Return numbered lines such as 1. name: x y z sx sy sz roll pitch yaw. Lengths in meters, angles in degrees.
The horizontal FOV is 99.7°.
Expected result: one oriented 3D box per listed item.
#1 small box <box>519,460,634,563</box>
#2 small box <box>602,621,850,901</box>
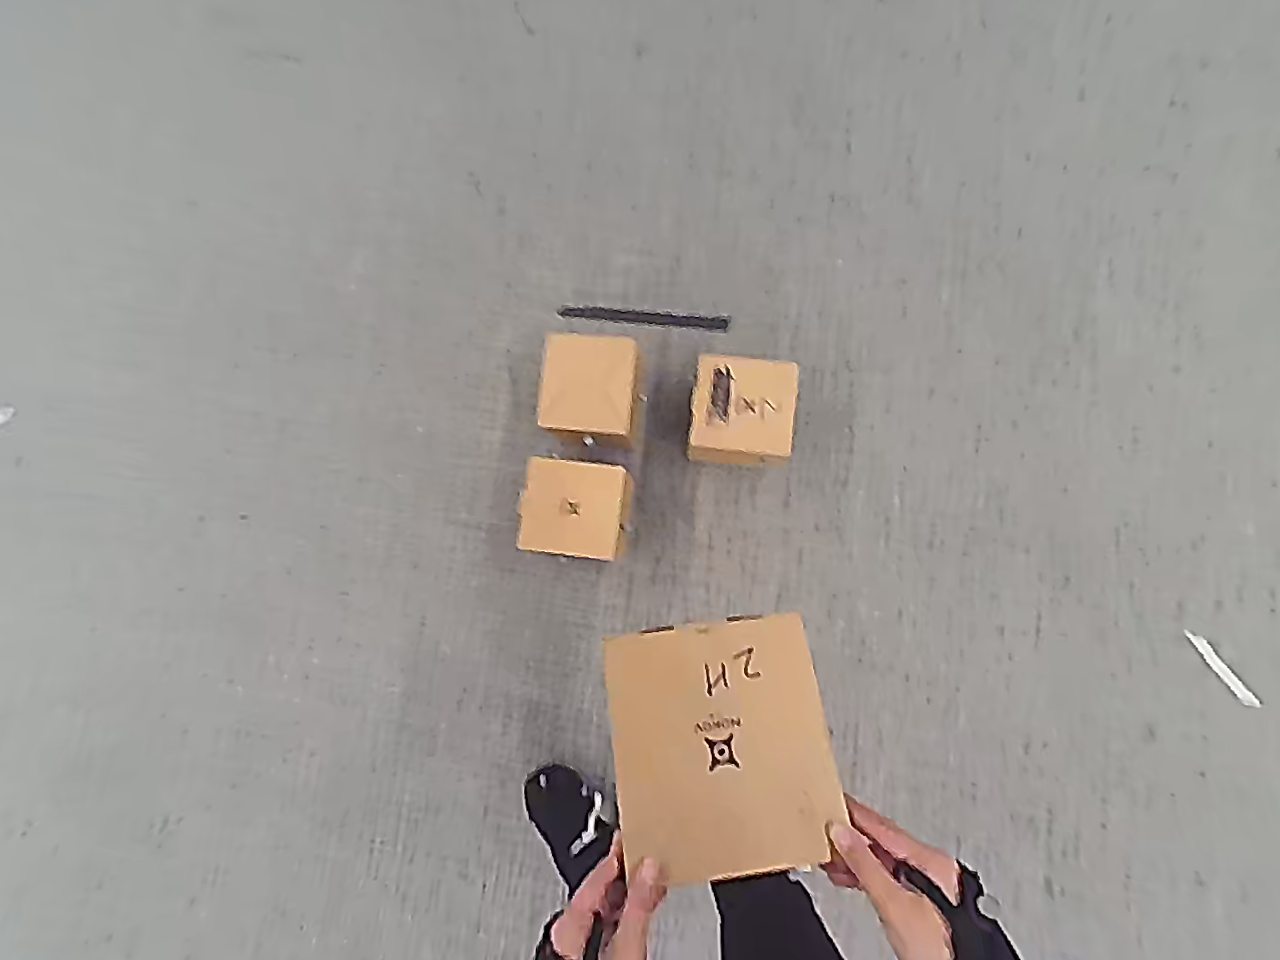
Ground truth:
1. small box: -0.111 0.062 1.030 0.179 0.176 0.168 7 84 6
2. small box: 0.059 0.231 0.481 0.168 0.176 0.179 -7 69 -3
